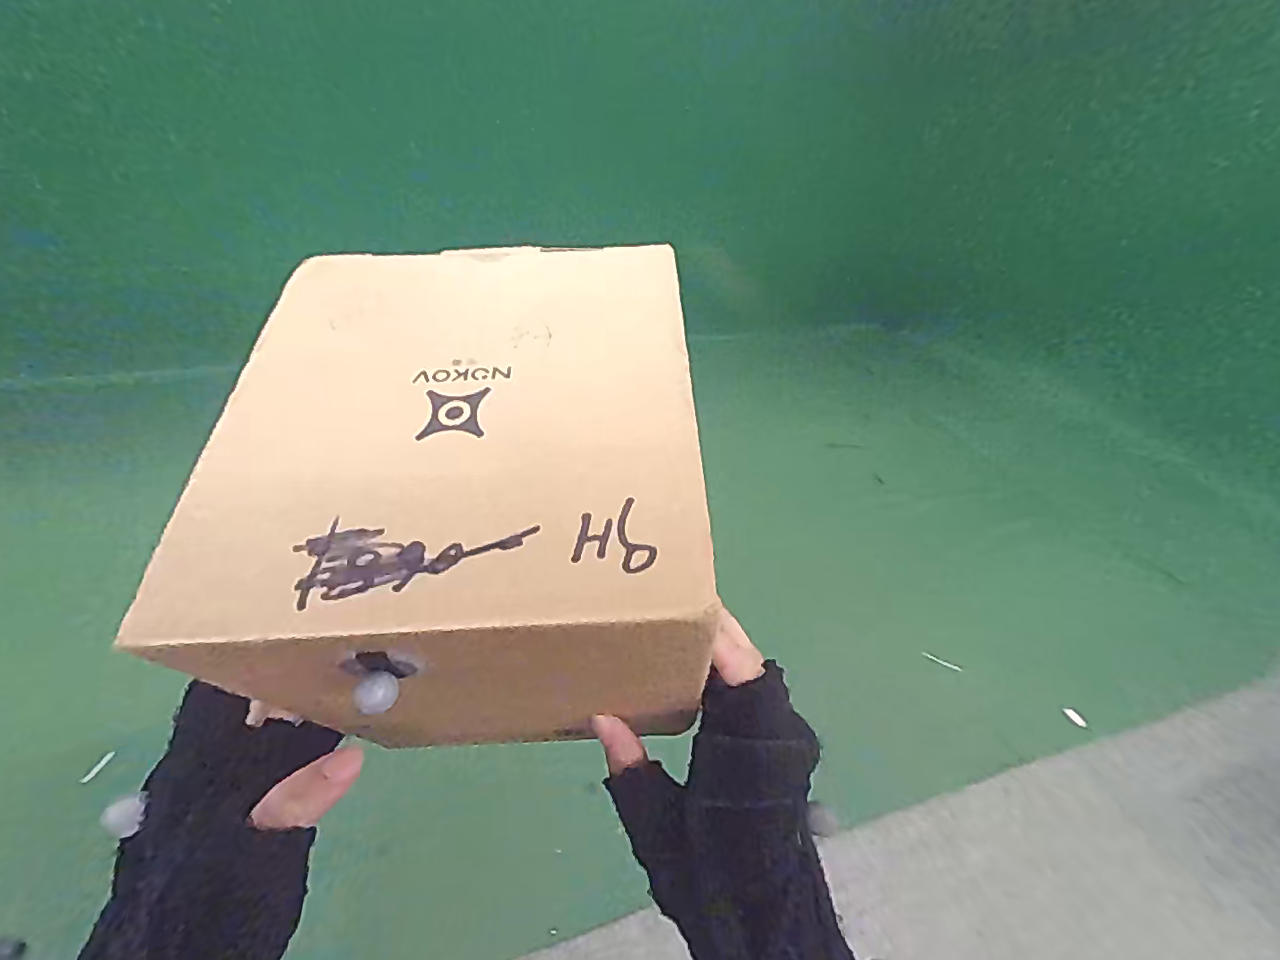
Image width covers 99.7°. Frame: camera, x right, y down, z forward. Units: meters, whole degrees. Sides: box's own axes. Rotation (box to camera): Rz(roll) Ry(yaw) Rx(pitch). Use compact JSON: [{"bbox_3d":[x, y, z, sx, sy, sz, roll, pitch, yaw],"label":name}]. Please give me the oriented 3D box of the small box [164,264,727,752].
[{"bbox_3d":[-0.054,0.021,0.265,0.168,0.176,0.179,-3,55,2],"label":"small box"}]
